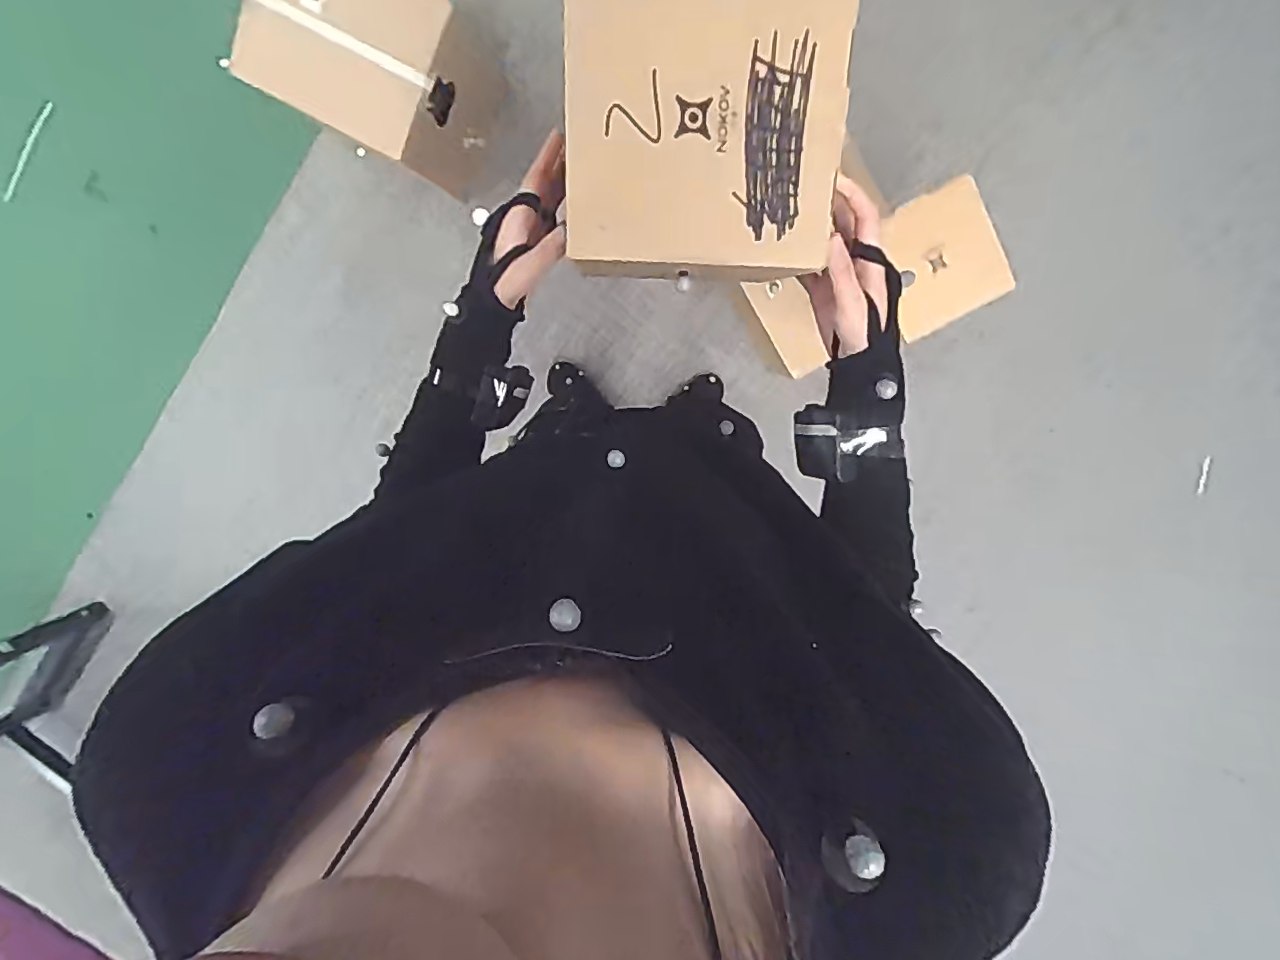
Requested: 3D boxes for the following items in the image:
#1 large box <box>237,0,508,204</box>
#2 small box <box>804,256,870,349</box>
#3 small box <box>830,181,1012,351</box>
[{"bbox_3d":[-0.577,-0.900,1.228,0.408,0.320,0.320,28,103,0],"label":"large box"},{"bbox_3d":[0.430,-0.357,0.997,0.179,0.176,0.168,-29,98,10],"label":"small box"},{"bbox_3d":[0.422,-0.317,0.840,0.168,0.176,0.179,-28,98,9],"label":"small box"}]
